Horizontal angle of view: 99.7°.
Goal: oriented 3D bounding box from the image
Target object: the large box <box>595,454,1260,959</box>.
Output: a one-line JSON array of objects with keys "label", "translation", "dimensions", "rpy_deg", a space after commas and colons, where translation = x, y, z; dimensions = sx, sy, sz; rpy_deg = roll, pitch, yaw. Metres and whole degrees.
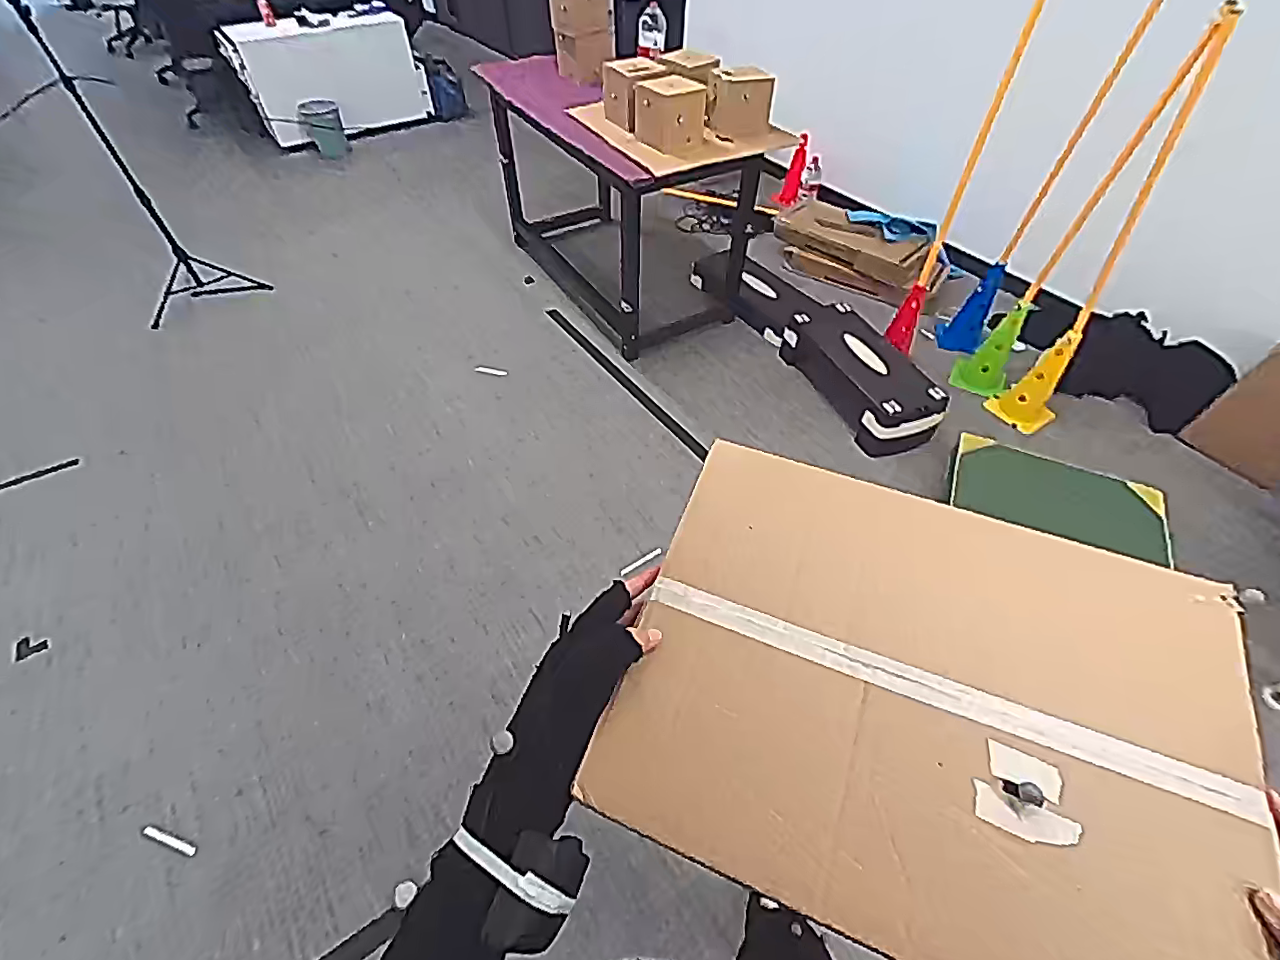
[{"label": "large box", "translation": [0.212, 0.229, 0.526], "dimensions": [0.408, 0.320, 0.320], "rpy_deg": [18, 62, 15]}]
